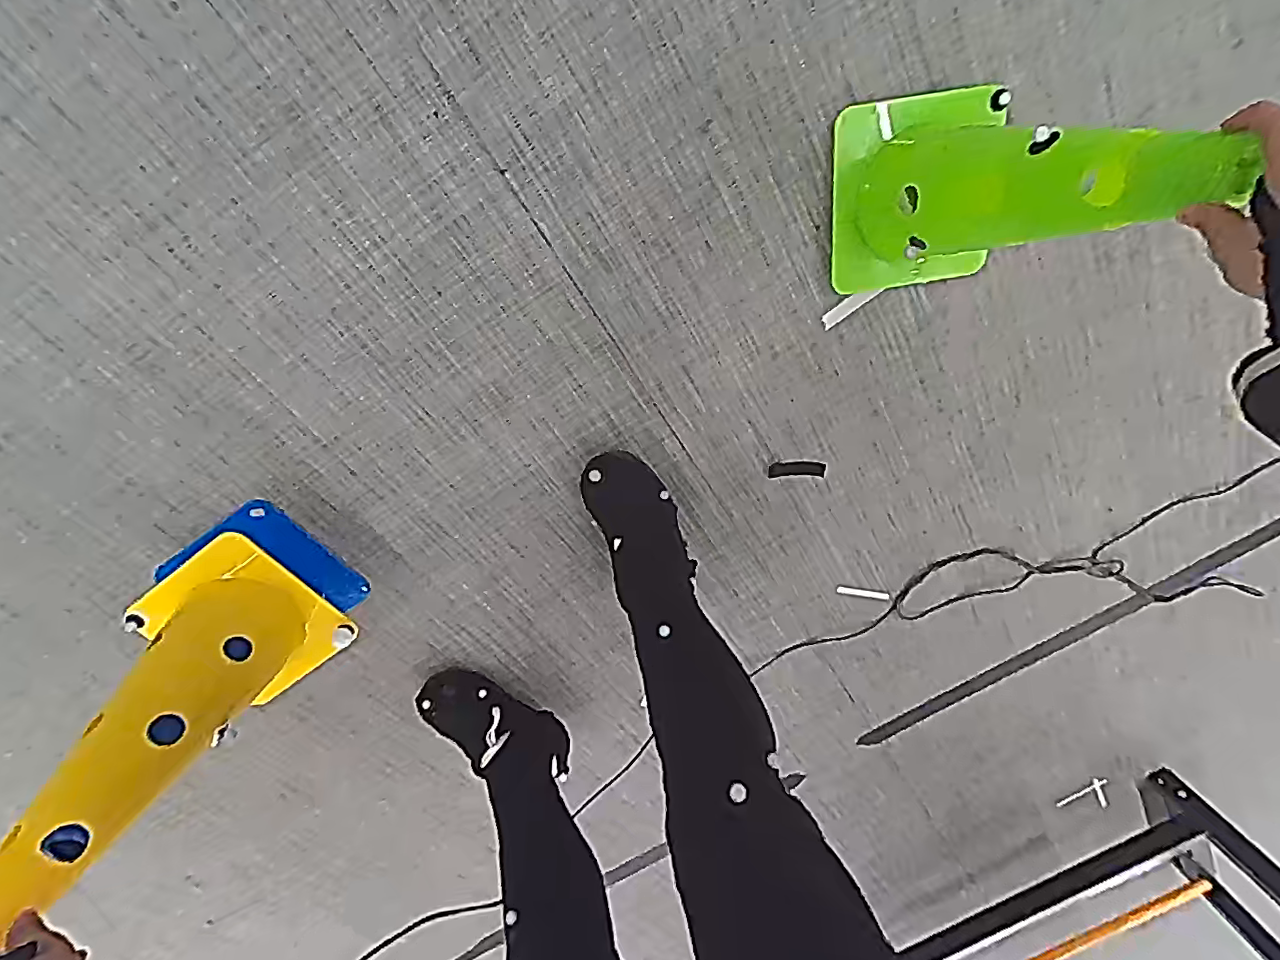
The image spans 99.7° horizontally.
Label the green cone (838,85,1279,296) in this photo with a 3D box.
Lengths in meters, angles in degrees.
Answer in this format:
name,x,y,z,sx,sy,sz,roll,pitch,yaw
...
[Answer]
name,x,y,z,sx,sy,sz,roll,pitch,yaw
green cone,0.347,-0.255,0.479,0.200,0.368,0.202,-10,117,-1
